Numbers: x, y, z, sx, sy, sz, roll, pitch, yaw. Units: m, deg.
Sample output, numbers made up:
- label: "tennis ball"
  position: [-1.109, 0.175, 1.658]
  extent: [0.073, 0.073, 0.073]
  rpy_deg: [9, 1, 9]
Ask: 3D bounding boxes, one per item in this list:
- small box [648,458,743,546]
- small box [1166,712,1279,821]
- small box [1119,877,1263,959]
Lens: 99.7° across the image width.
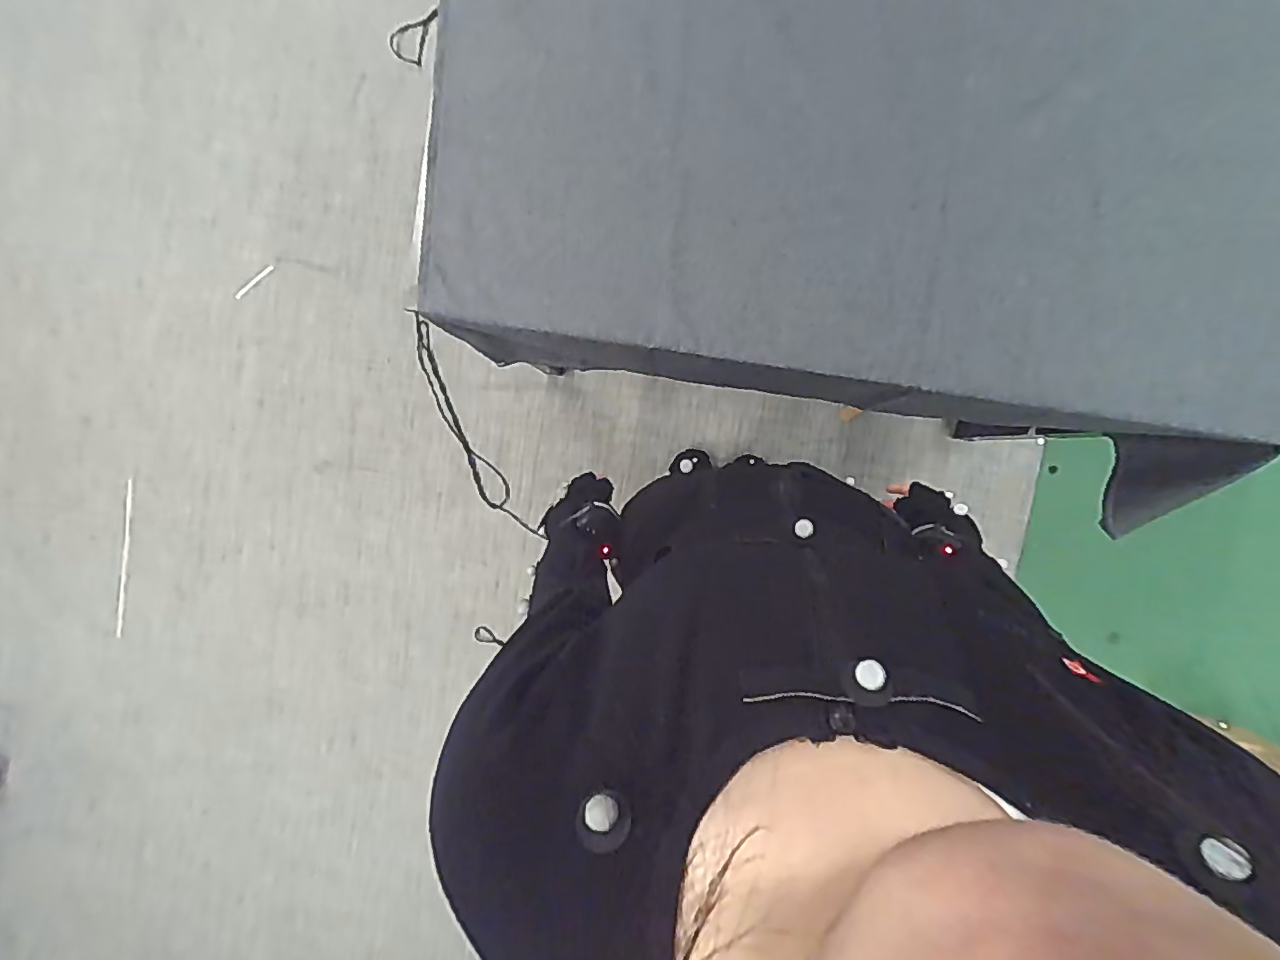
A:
- label: "small box"
  position: [0.142, 0.054, 1.430]
  extent: [0.168, 0.176, 0.179]
  rpy_deg: [-46, 73, 16]
- label: "small box"
  position: [1.487, 0.706, 1.346]
  extent: [0.179, 0.176, 0.168]
  rpy_deg: [14, 94, 3]
- label: "small box"
  position: [1.395, 1.162, 1.379]
  extent: [0.179, 0.176, 0.168]
  rpy_deg: [10, 94, 4]
